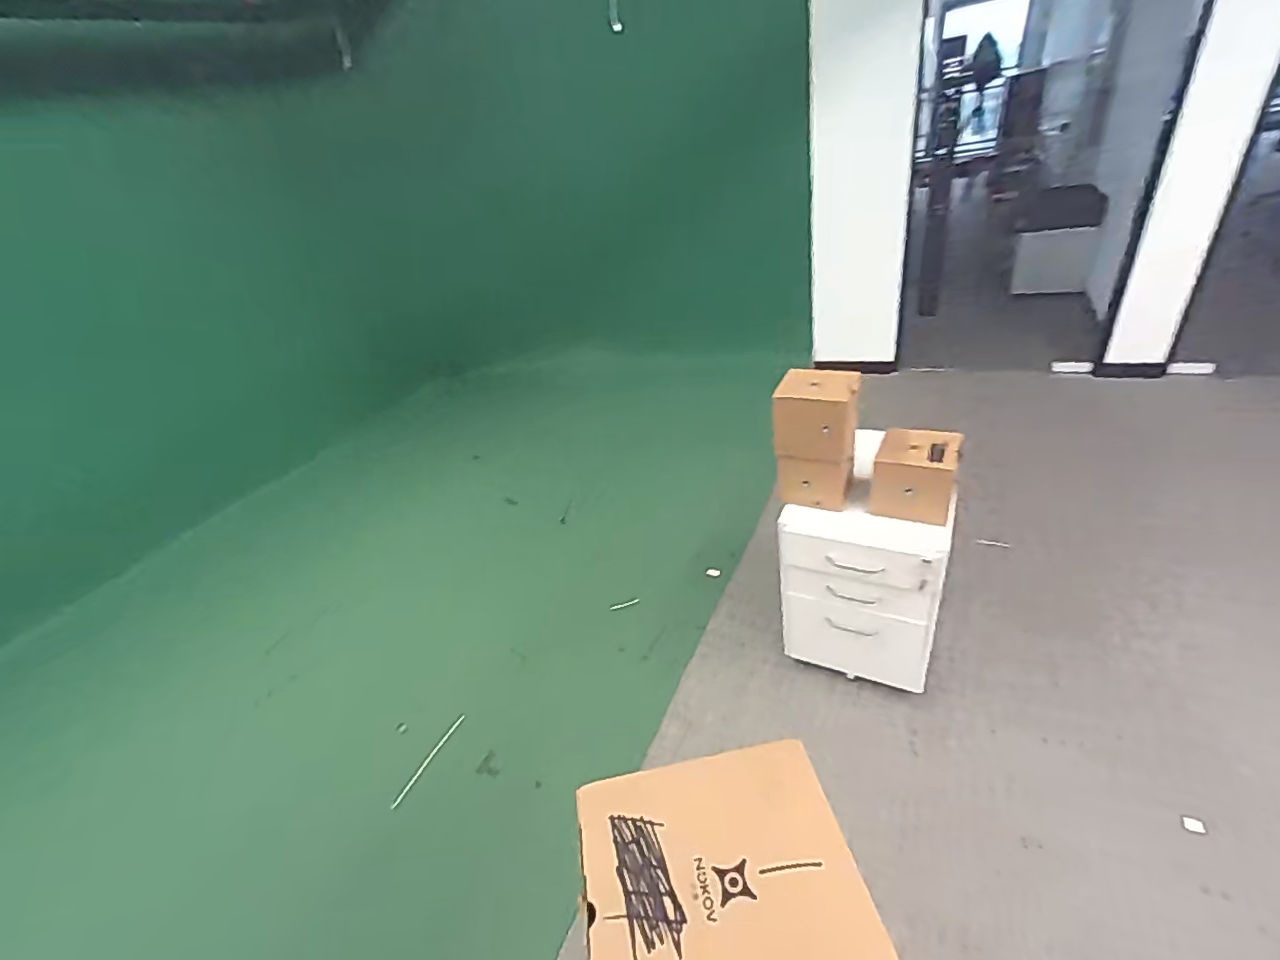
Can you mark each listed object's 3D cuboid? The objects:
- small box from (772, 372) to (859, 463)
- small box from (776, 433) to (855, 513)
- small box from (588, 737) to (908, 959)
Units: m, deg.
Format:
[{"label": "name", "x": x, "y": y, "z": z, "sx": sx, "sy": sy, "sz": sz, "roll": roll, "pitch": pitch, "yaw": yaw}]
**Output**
[{"label": "small box", "x": 0.441, "y": -0.158, "z": 1.358, "sx": 0.179, "sy": 0.176, "sz": 0.168, "roll": 8, "pitch": 37, "yaw": 28}, {"label": "small box", "x": 0.475, "y": -0.034, "z": 1.458, "sx": 0.168, "sy": 0.176, "sz": 0.179, "roll": 11, "pitch": 40, "yaw": 28}, {"label": "small box", "x": 0.065, "y": 0.319, "z": 0.382, "sx": 0.179, "sy": 0.176, "sz": 0.168, "roll": -8, "pitch": 31, "yaw": -3}]
